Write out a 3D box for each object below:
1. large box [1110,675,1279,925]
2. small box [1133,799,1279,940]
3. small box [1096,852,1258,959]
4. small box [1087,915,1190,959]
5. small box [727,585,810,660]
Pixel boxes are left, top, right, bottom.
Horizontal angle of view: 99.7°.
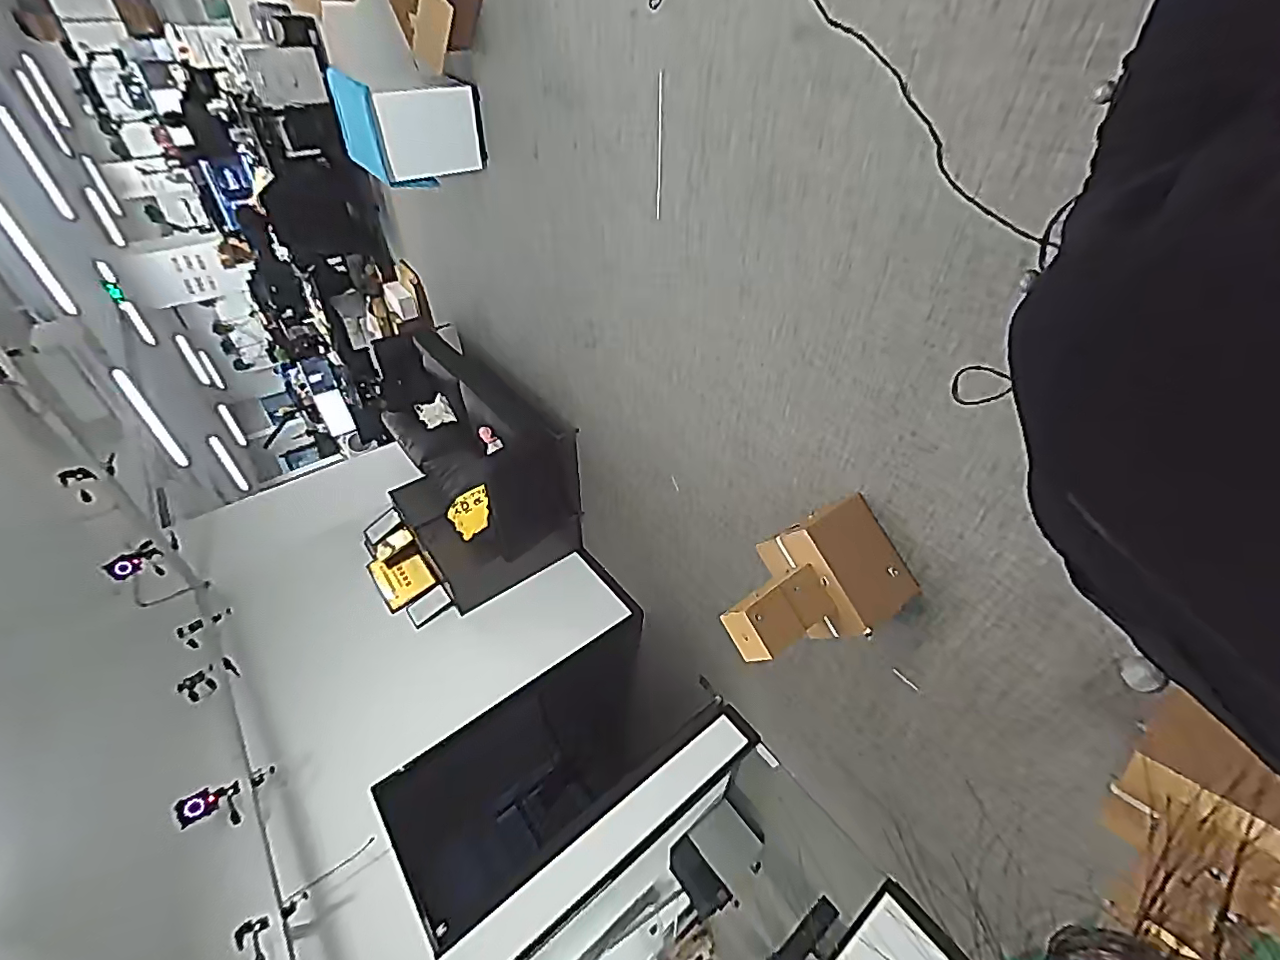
[{"bbox_3d":[1.413,0.739,1.236,0.408,0.320,0.320,28,138,46],"label":"large box"},{"bbox_3d":[1.204,0.830,1.144,0.179,0.176,0.168,33,139,44],"label":"small box"},{"bbox_3d":[1.069,0.896,1.078,0.168,0.176,0.179,34,140,43],"label":"small box"},{"bbox_3d":[0.941,0.966,1.001,0.168,0.176,0.179,33,139,44],"label":"small box"},{"bbox_3d":[0.429,0.475,1.802,0.179,0.176,0.168,60,152,8],"label":"small box"}]
